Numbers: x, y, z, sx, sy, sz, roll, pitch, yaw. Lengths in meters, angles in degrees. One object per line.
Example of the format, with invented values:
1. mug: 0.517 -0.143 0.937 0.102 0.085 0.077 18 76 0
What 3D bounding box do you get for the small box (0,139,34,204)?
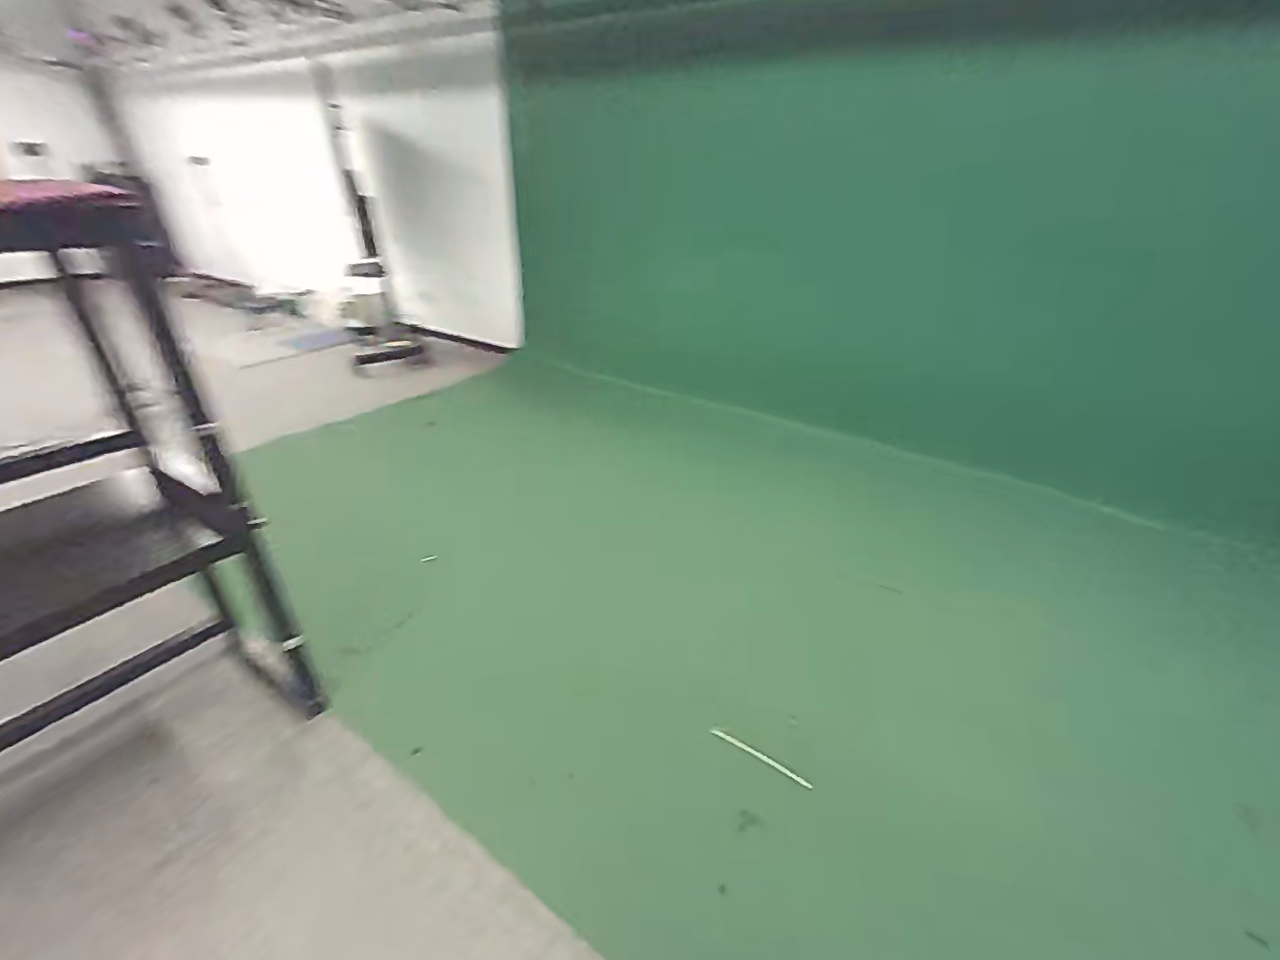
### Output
1. small box: -1.188 -0.550 0.898 0.168 0.176 0.179 18 35 30
